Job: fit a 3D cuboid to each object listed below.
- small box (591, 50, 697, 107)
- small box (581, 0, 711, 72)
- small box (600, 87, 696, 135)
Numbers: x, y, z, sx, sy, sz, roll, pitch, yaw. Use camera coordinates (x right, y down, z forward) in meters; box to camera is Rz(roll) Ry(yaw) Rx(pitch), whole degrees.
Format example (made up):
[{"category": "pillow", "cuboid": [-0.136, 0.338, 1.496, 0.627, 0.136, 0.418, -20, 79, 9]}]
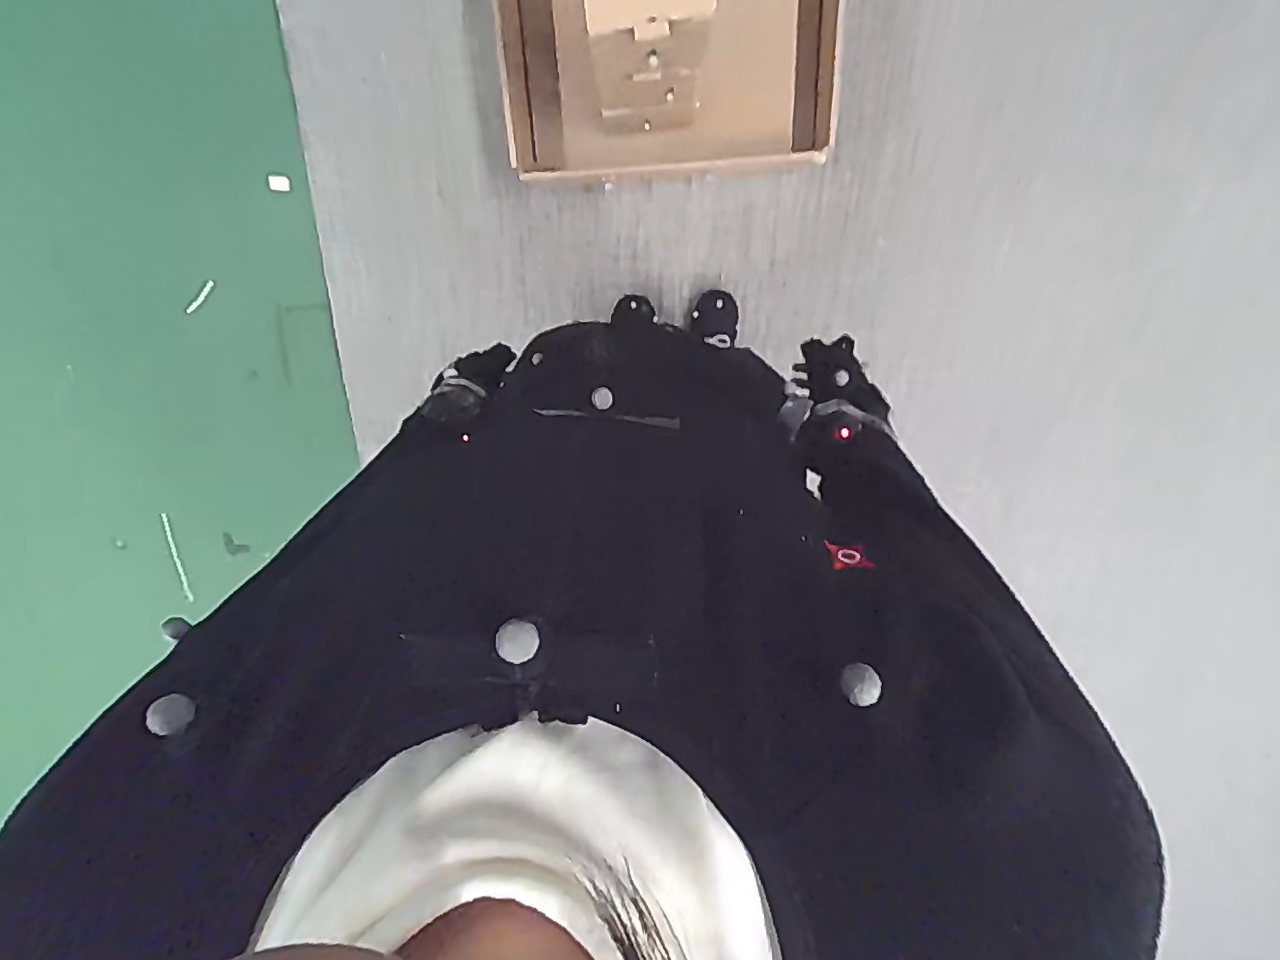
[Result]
[{"category": "small box", "cuboid": [0.008, -0.731, 0.881, 0.168, 0.176, 0.179, -2, 109, 3]}, {"category": "small box", "cuboid": [0.008, -0.677, 0.726, 0.168, 0.176, 0.179, -4, 111, 4]}, {"category": "small box", "cuboid": [0.015, -0.779, 1.034, 0.179, 0.176, 0.168, -2, 110, 6]}]
